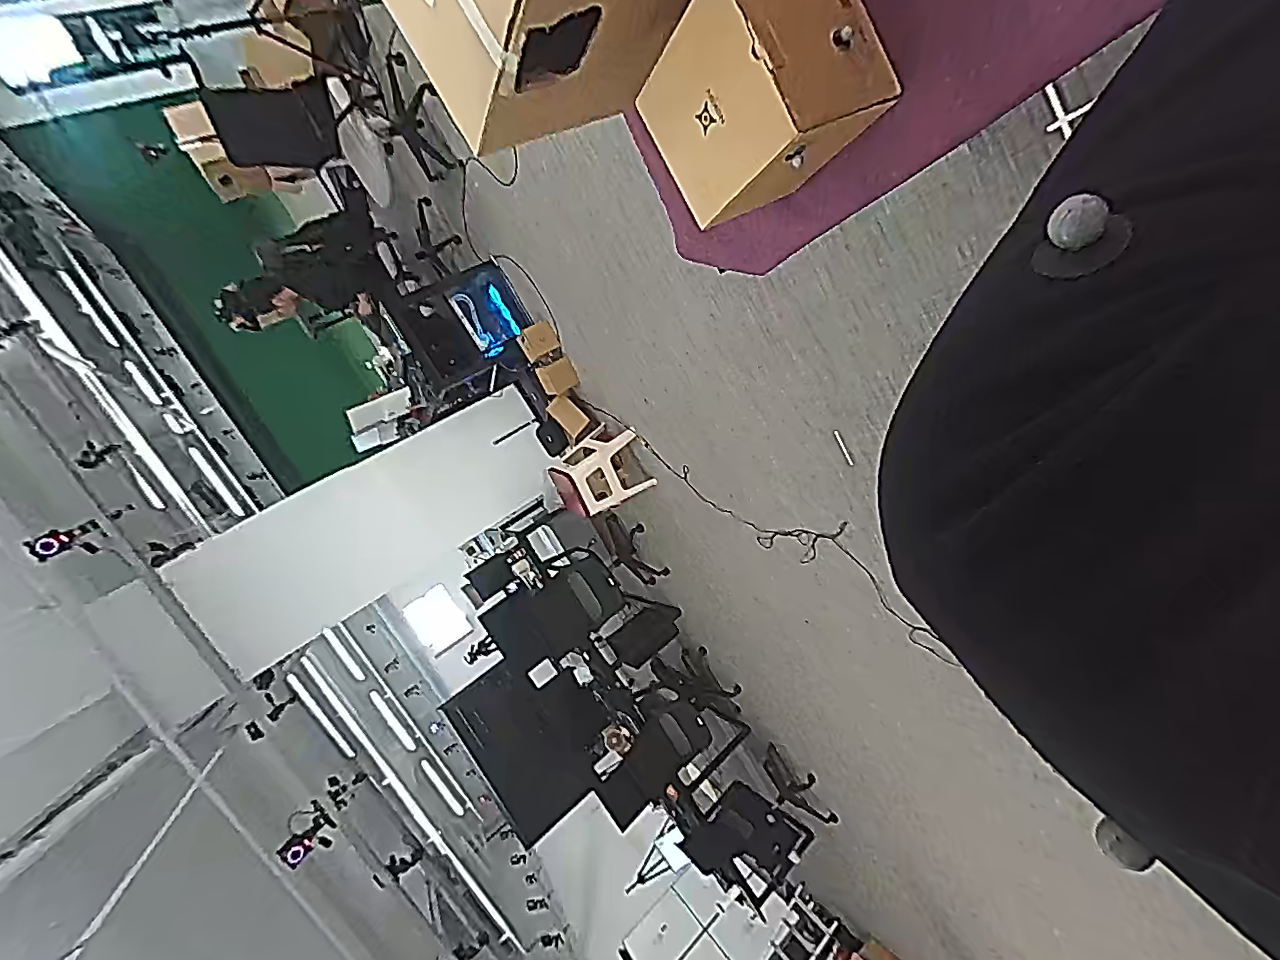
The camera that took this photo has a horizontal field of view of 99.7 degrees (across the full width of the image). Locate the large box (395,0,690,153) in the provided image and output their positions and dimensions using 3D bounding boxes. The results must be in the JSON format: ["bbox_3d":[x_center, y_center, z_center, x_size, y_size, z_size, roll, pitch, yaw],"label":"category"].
[{"bbox_3d":[-0.114,-0.664,0.567,0.408,0.320,0.320,57,155,-9],"label":"large box"}]

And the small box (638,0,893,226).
[{"bbox_3d":[0.133,-0.420,0.595,0.168,0.176,0.179,60,155,-7],"label":"small box"}]
